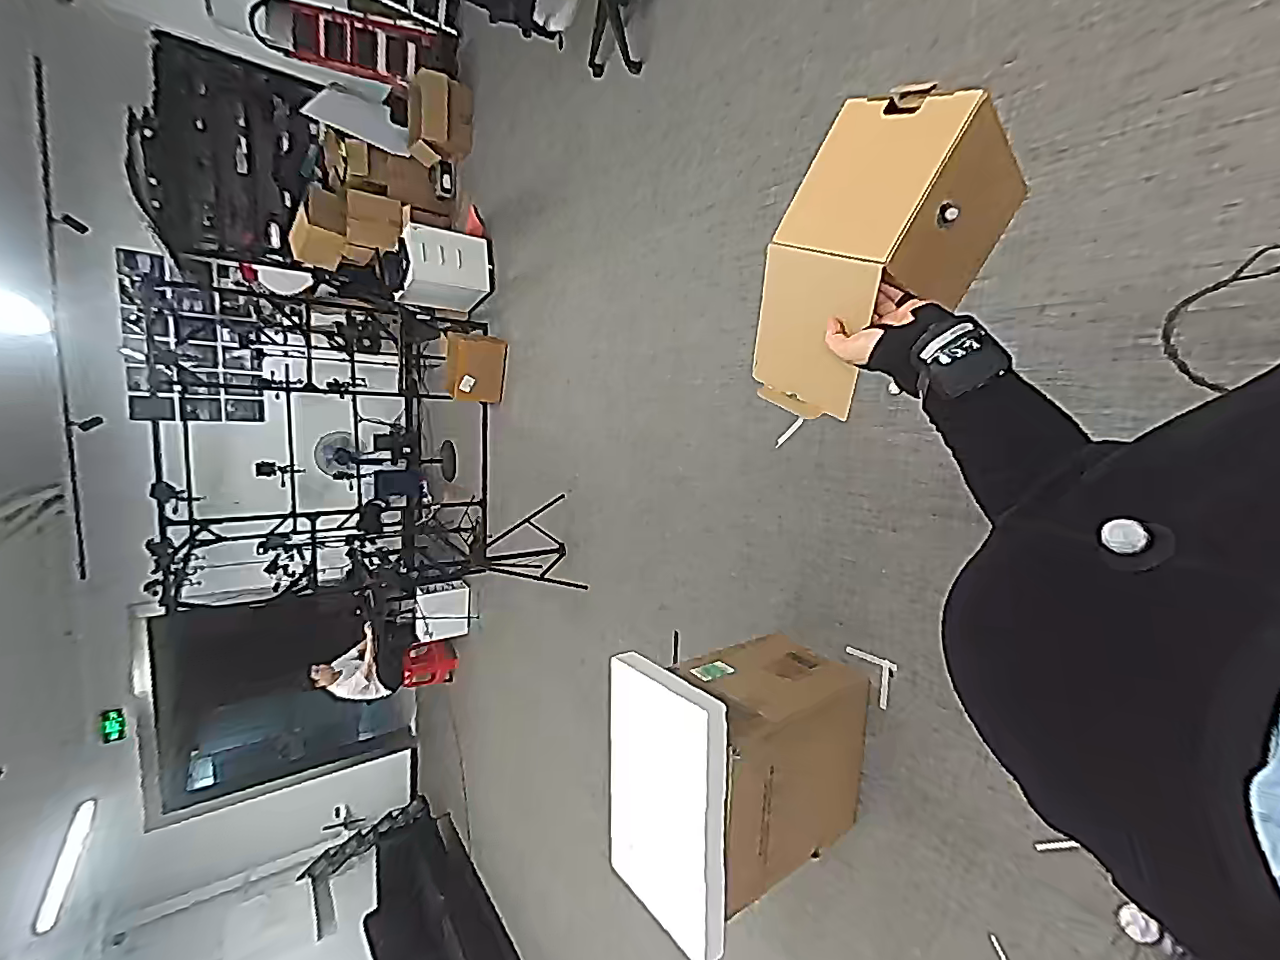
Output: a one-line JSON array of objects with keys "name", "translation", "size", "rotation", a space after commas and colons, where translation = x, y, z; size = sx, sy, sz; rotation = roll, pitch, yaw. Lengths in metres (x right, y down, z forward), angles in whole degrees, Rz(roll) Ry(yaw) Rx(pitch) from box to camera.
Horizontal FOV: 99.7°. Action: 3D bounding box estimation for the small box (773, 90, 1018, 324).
[{"name": "small box", "translation": [0.298, -0.306, 0.631], "size": [0.168, 0.176, 0.179], "rotation": [41, 107, 46]}]
